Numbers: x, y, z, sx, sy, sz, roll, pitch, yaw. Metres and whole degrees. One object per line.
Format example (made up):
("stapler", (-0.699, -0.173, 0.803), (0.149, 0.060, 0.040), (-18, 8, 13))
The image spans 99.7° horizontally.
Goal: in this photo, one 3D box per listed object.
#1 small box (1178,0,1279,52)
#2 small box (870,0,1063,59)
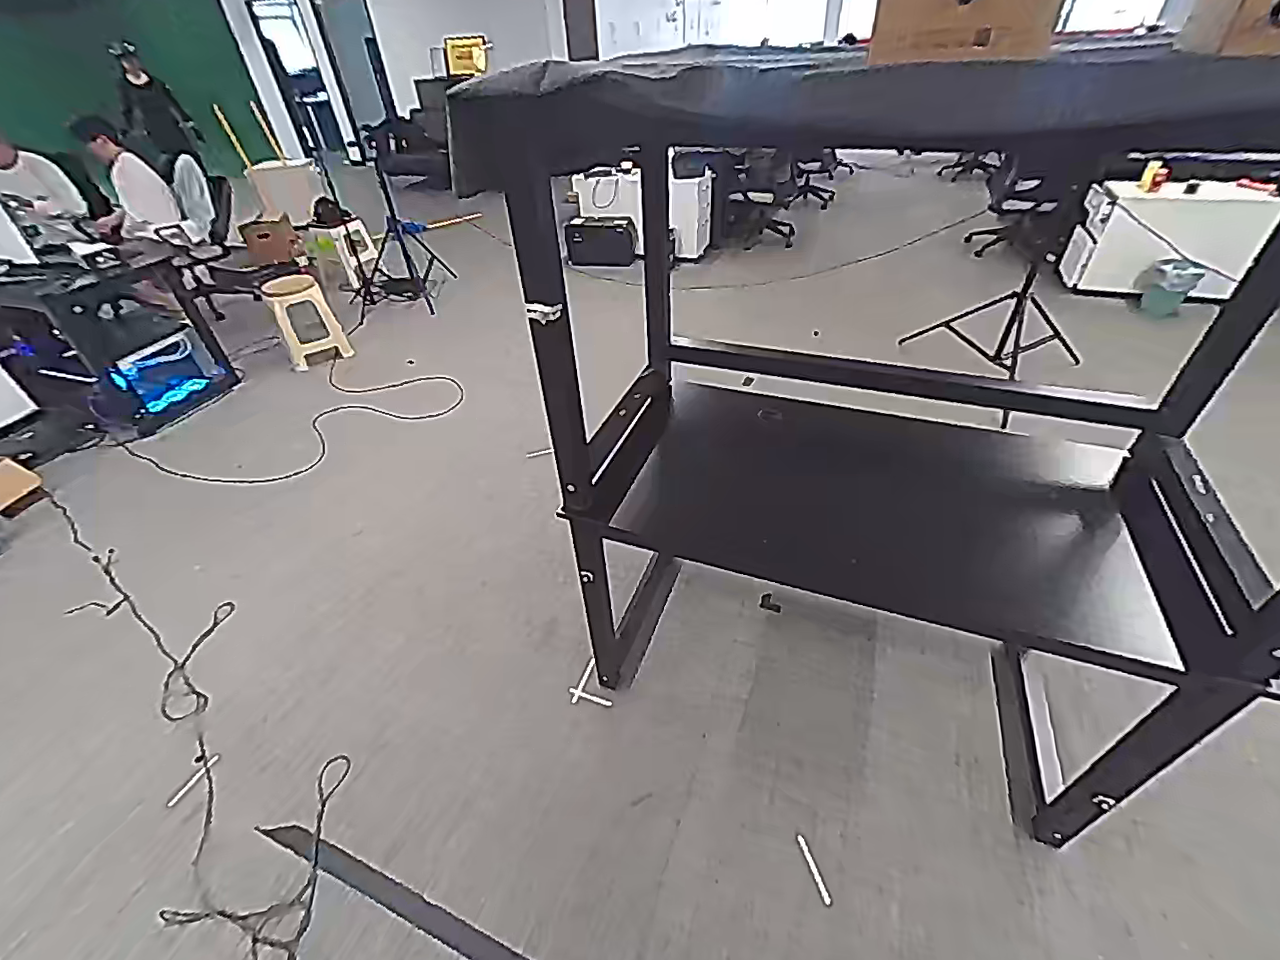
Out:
("small box", (0.621, -0.477, 0.459), (0.168, 0.176, 0.179), (15, 42, 21))
("small box", (0.342, -0.537, 0.548), (0.168, 0.176, 0.179), (13, 40, 19))
